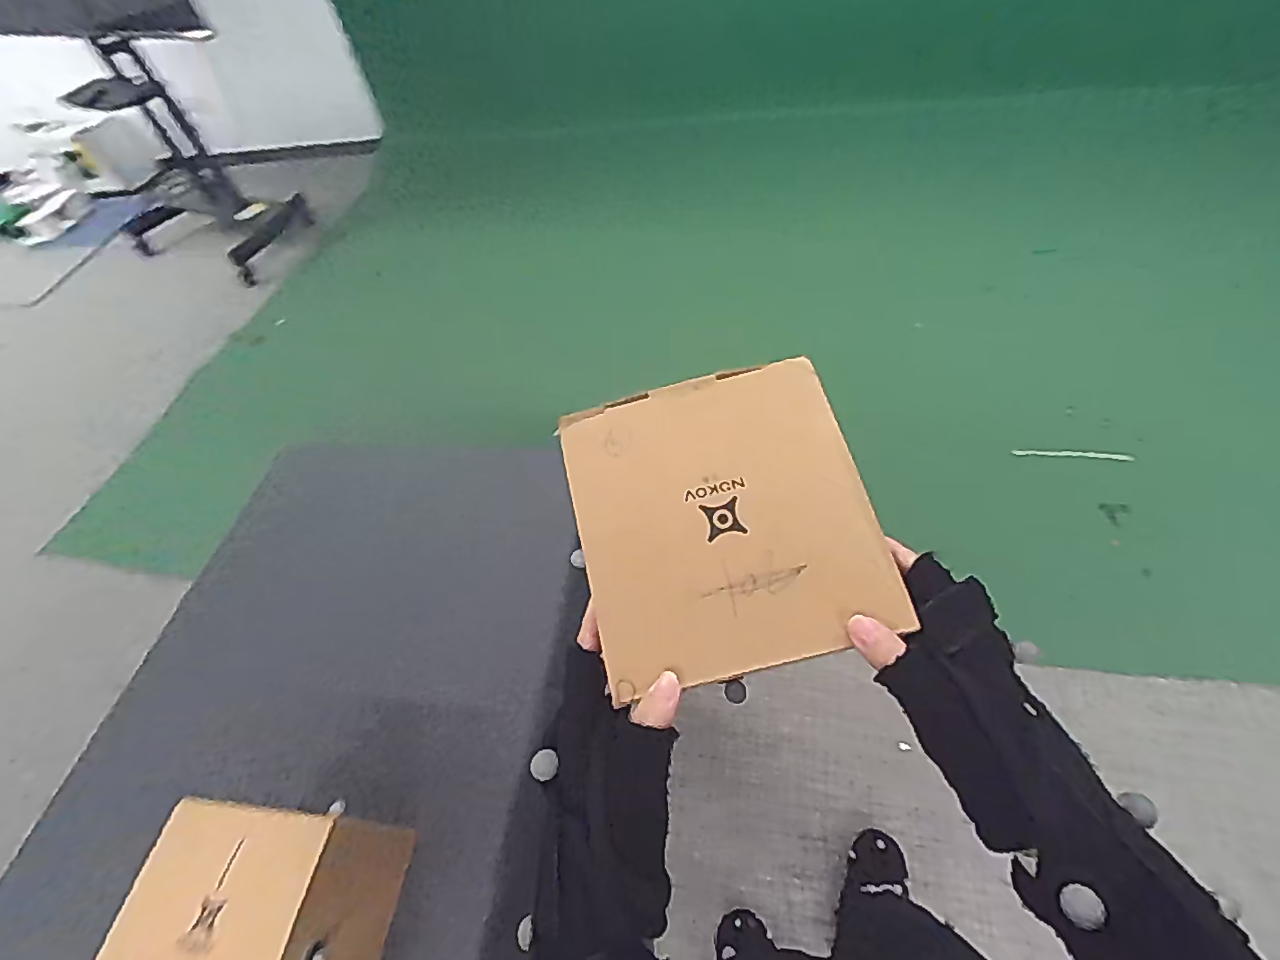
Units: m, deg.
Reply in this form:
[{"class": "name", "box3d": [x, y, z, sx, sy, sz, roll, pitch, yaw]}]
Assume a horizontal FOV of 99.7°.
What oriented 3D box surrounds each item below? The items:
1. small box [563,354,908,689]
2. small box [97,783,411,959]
[{"class": "small box", "box3d": [0.053, 0.043, 0.386, 0.168, 0.176, 0.179, -13, 70, 2]}, {"class": "small box", "box3d": [-0.357, 0.415, 0.528, 0.168, 0.176, 0.179, 1, 54, 11]}]
